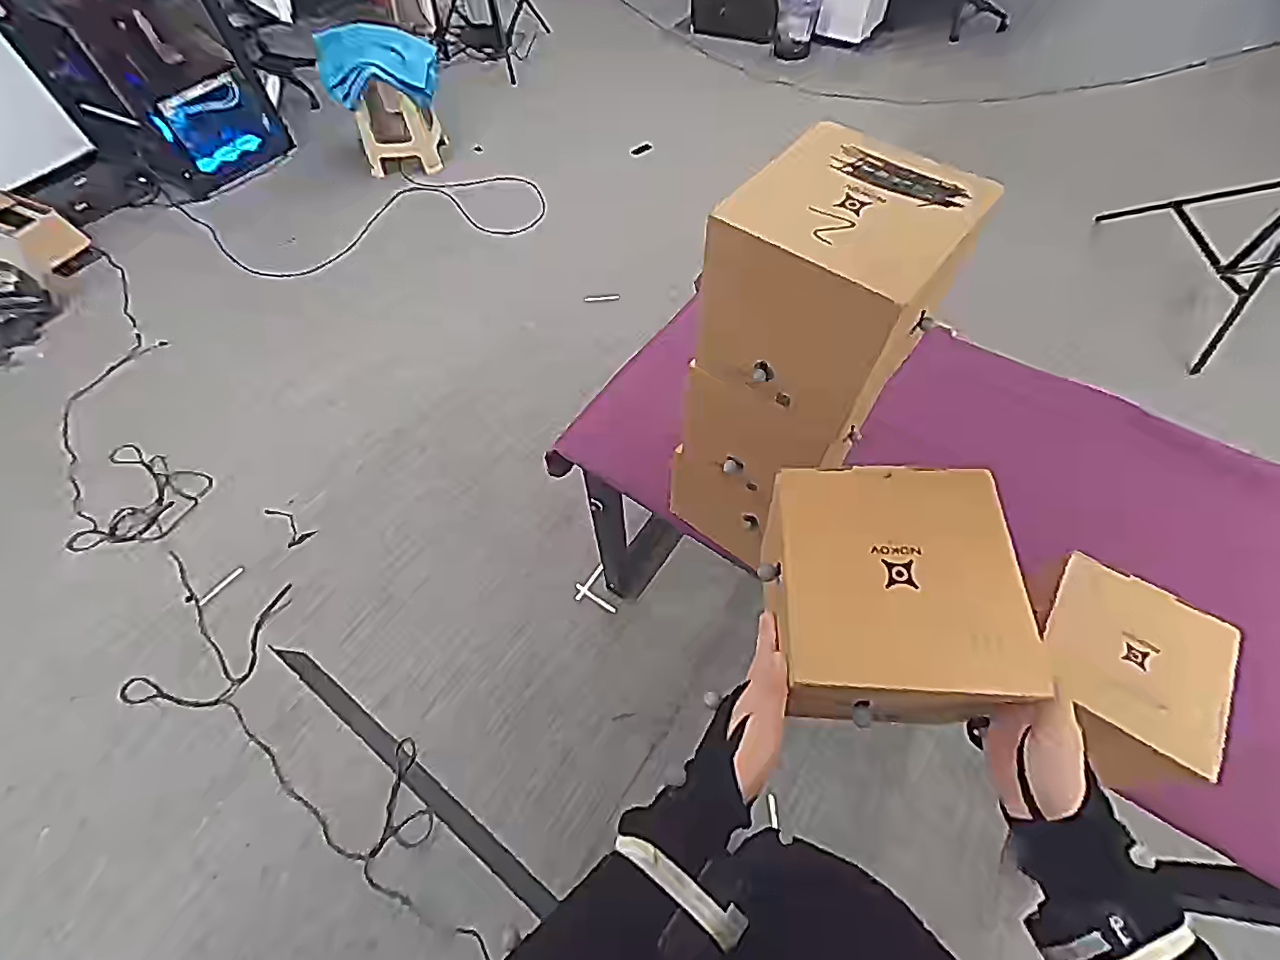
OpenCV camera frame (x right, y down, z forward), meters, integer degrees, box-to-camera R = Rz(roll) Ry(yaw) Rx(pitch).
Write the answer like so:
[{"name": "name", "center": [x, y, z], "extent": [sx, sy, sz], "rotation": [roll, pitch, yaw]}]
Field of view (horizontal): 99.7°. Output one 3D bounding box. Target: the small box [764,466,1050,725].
[{"name": "small box", "center": [0.198, 0.105, 0.465], "extent": [0.168, 0.176, 0.179], "rotation": [0, 58, 8]}]

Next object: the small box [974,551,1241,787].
[{"name": "small box", "center": [0.511, 0.219, 0.620], "extent": [0.168, 0.176, 0.179], "rotation": [30, 65, 20]}]

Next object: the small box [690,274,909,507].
[{"name": "small box", "center": [0.169, -0.095, 0.628], "extent": [0.168, 0.176, 0.179], "rotation": [34, 66, 20]}]

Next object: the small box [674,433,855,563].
[{"name": "small box", "center": [0.164, -0.005, 0.765], "extent": [0.179, 0.176, 0.168], "rotation": [35, 65, 20]}]
